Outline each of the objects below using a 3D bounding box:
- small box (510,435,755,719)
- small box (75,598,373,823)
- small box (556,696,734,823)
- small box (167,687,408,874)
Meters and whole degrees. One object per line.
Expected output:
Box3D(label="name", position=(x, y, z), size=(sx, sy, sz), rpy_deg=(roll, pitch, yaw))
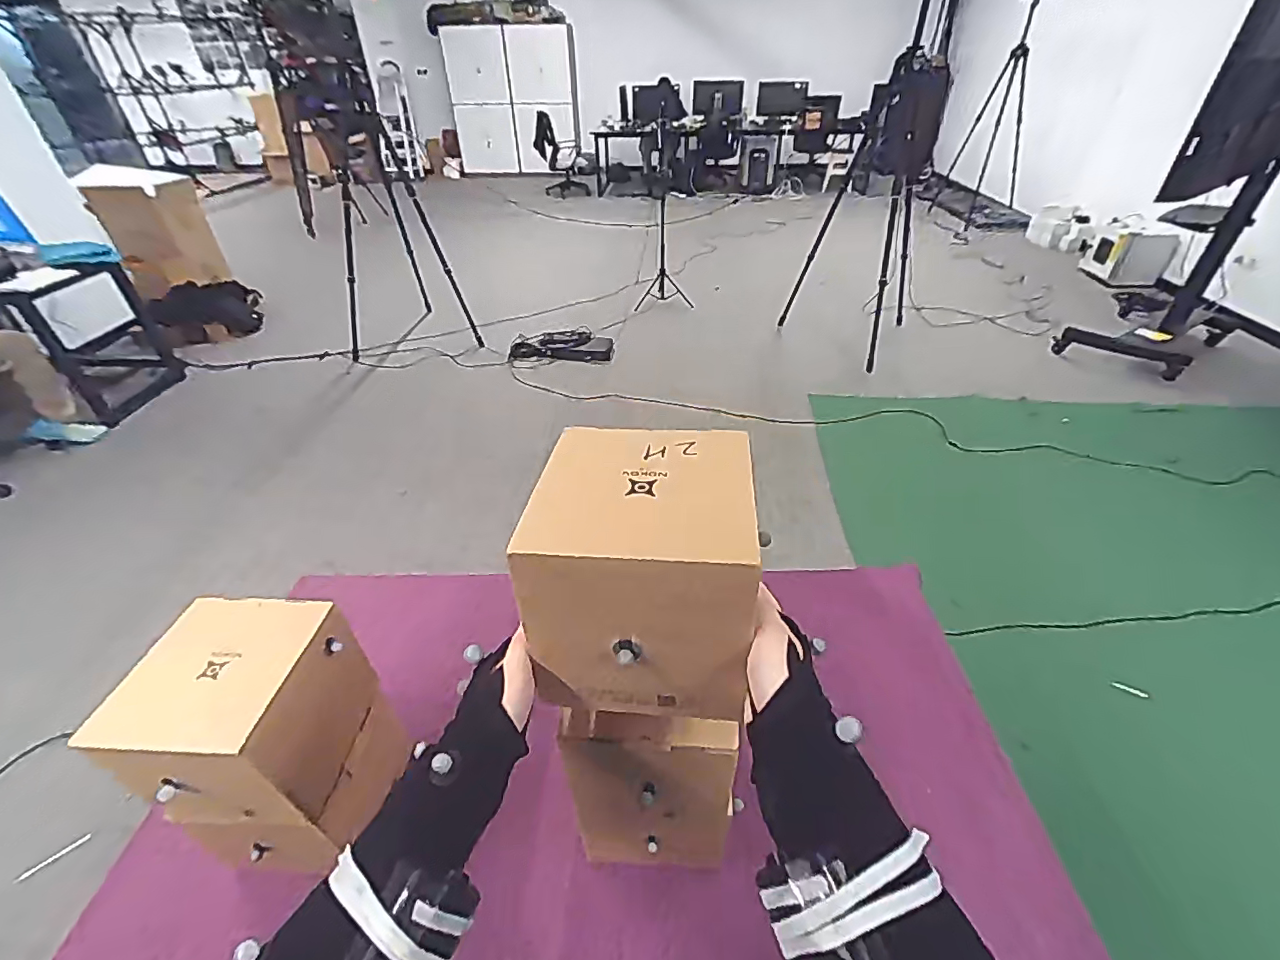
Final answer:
Box3D(label="small box", position=(0.007, 0.076, 0.461), size=(0.168, 0.176, 0.179), rpy_deg=(3, 33, 7))
Box3D(label="small box", position=(-0.429, 0.255, 0.602), size=(0.168, 0.176, 0.179), rpy_deg=(1, 37, 3))
Box3D(label="small box", position=(0.016, 0.249, 0.594), size=(0.168, 0.176, 0.179), rpy_deg=(3, 39, 6))
Box3D(label="small box", position=(-0.429, 0.385, 0.700), size=(0.179, 0.176, 0.168), rpy_deg=(0, 38, 2))
